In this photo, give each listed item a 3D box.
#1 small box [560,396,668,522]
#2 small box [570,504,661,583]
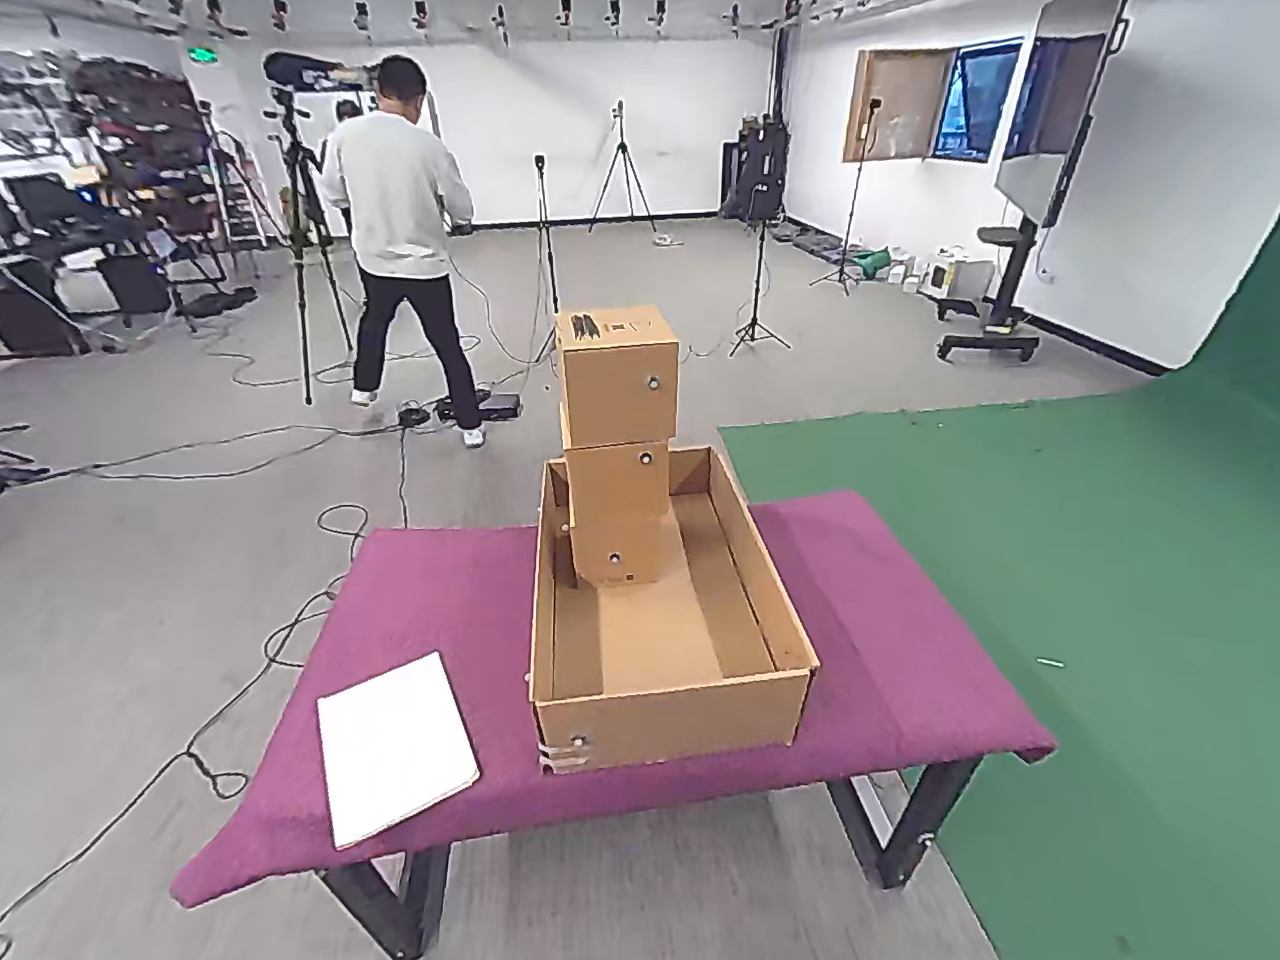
[{"bbox_3d":[-0.047,-0.037,0.989,0.179,0.176,0.168,-6,36,-7],"label":"small box"},{"bbox_3d":[-0.050,0.093,1.085,0.168,0.176,0.179,-5,36,-4],"label":"small box"}]
